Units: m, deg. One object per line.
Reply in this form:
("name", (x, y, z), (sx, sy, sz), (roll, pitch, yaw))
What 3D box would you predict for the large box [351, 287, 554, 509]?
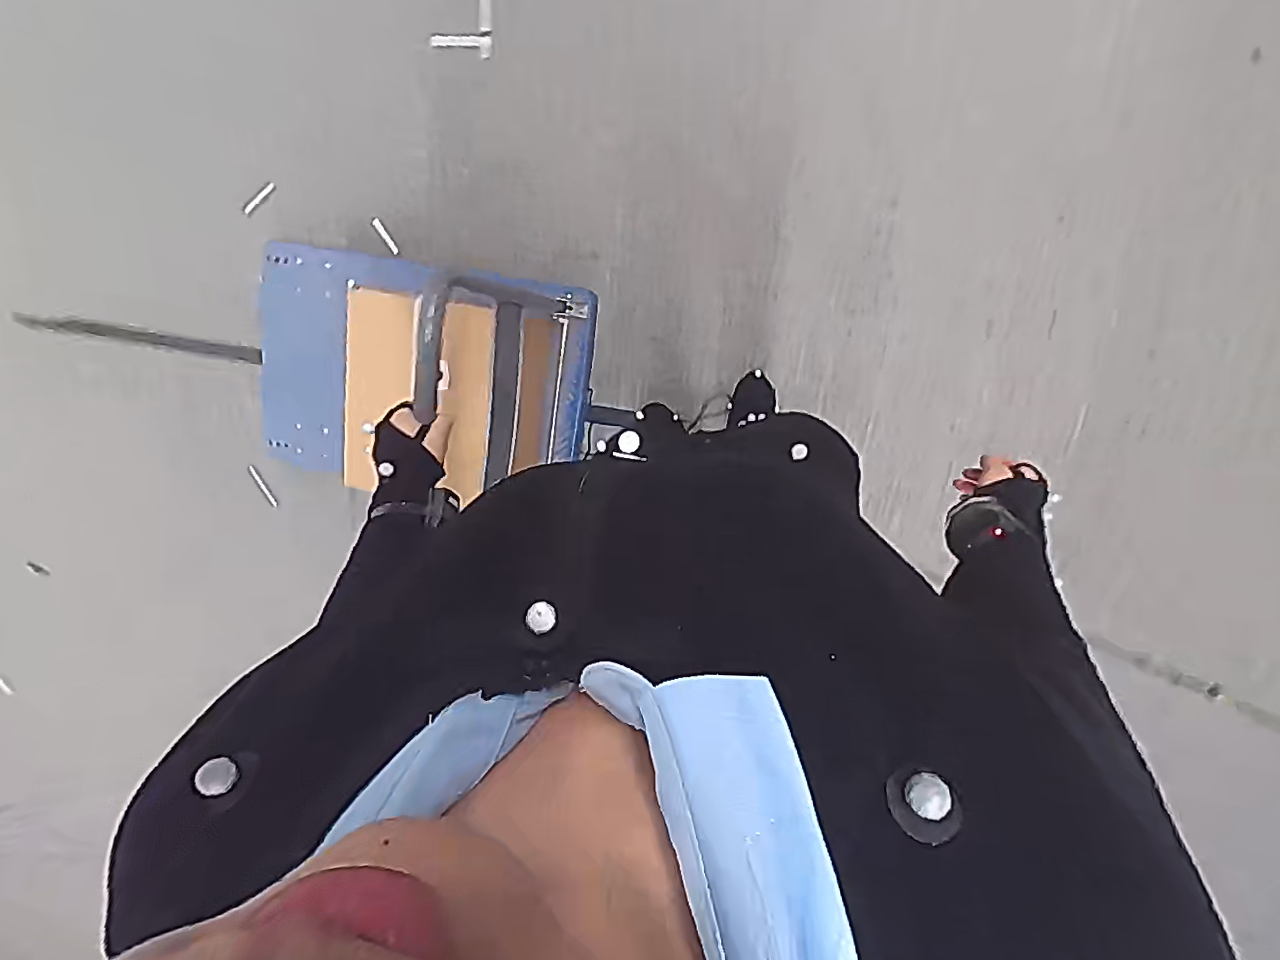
("large box", (-0.405, -0.186, 1.216), (0.320, 0.320, 0.408), (12, 104, 7))
